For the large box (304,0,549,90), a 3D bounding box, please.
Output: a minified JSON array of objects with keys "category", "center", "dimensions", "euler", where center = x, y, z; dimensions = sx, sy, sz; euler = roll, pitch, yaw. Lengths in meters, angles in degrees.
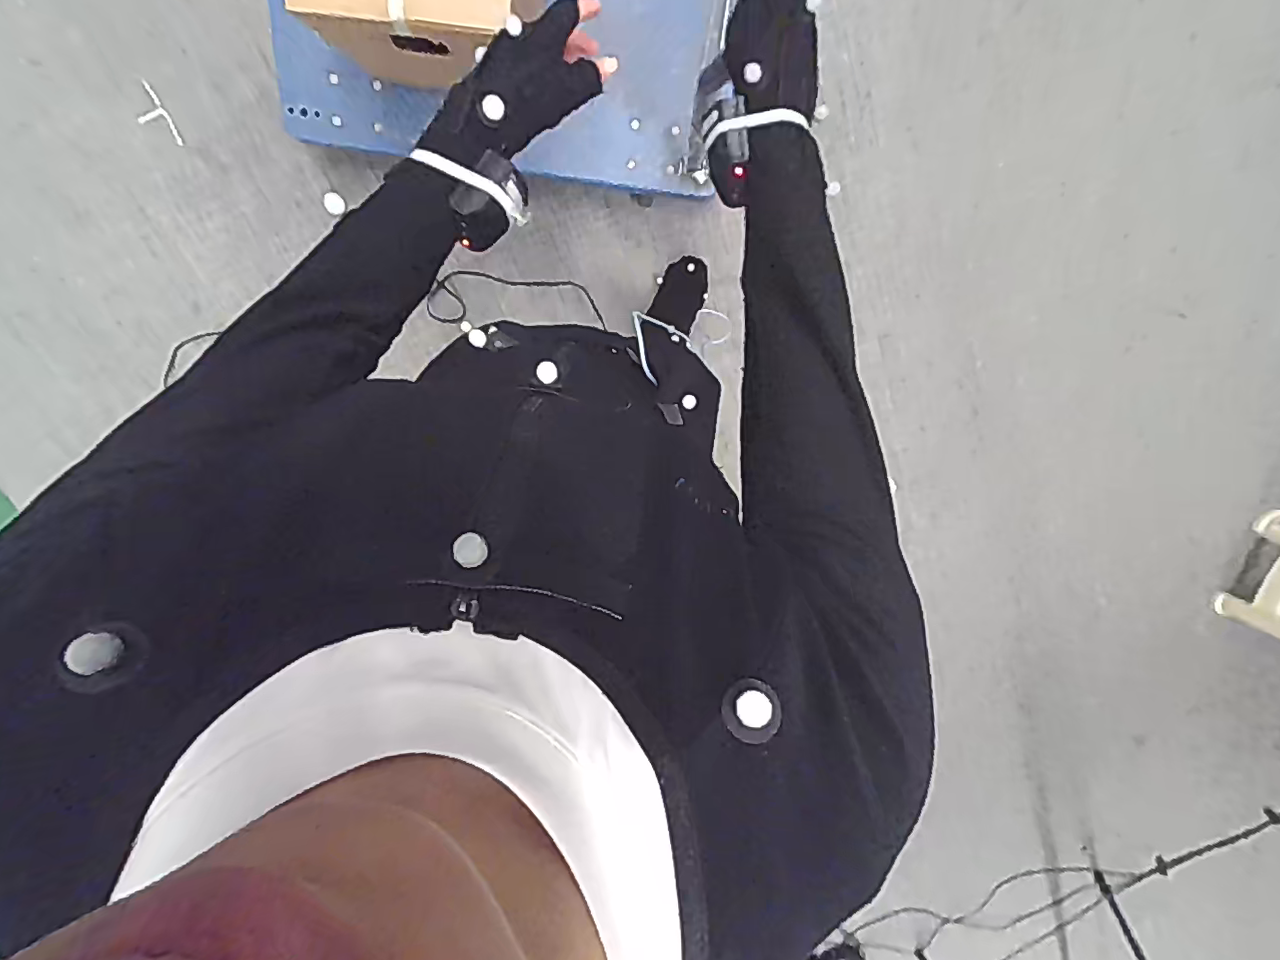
[{"category":"large box","center":[-0.308,-0.891,0.827],"dimensions":[0.320,0.320,0.408],"euler":[4,112,-2]}]
